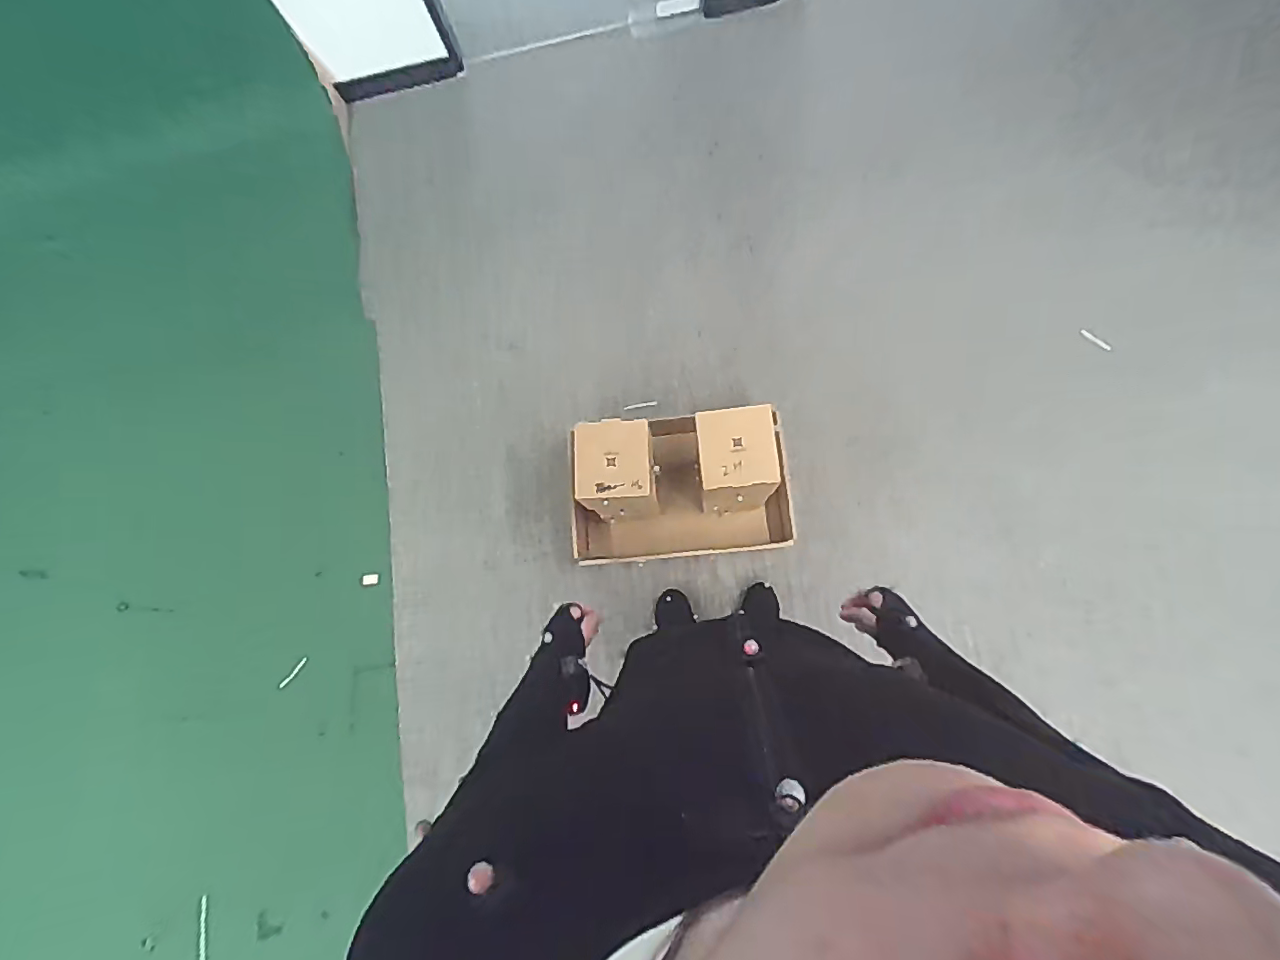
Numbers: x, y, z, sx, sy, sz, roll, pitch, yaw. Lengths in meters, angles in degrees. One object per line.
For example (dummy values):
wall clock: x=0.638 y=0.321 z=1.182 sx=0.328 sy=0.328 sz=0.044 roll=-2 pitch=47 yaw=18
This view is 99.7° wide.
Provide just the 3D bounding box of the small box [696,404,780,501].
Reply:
small box: x=0.214 y=-0.057 z=1.224 sx=0.168 sy=0.176 sz=0.179 roll=-6 pitch=79 yaw=6

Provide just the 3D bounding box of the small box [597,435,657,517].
small box: x=-0.046 y=-0.007 z=1.407 sx=0.168 sy=0.176 sz=0.179 roll=-5 pitch=78 yaw=3

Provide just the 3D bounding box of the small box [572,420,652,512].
small box: x=-0.059 y=-0.028 z=1.244 sx=0.168 sy=0.176 sz=0.179 roll=-2 pitch=78 yaw=4

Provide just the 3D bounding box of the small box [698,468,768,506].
small box: x=0.233 y=-0.029 z=1.385 sx=0.168 sy=0.176 sz=0.179 roll=-4 pitch=78 yaw=6
